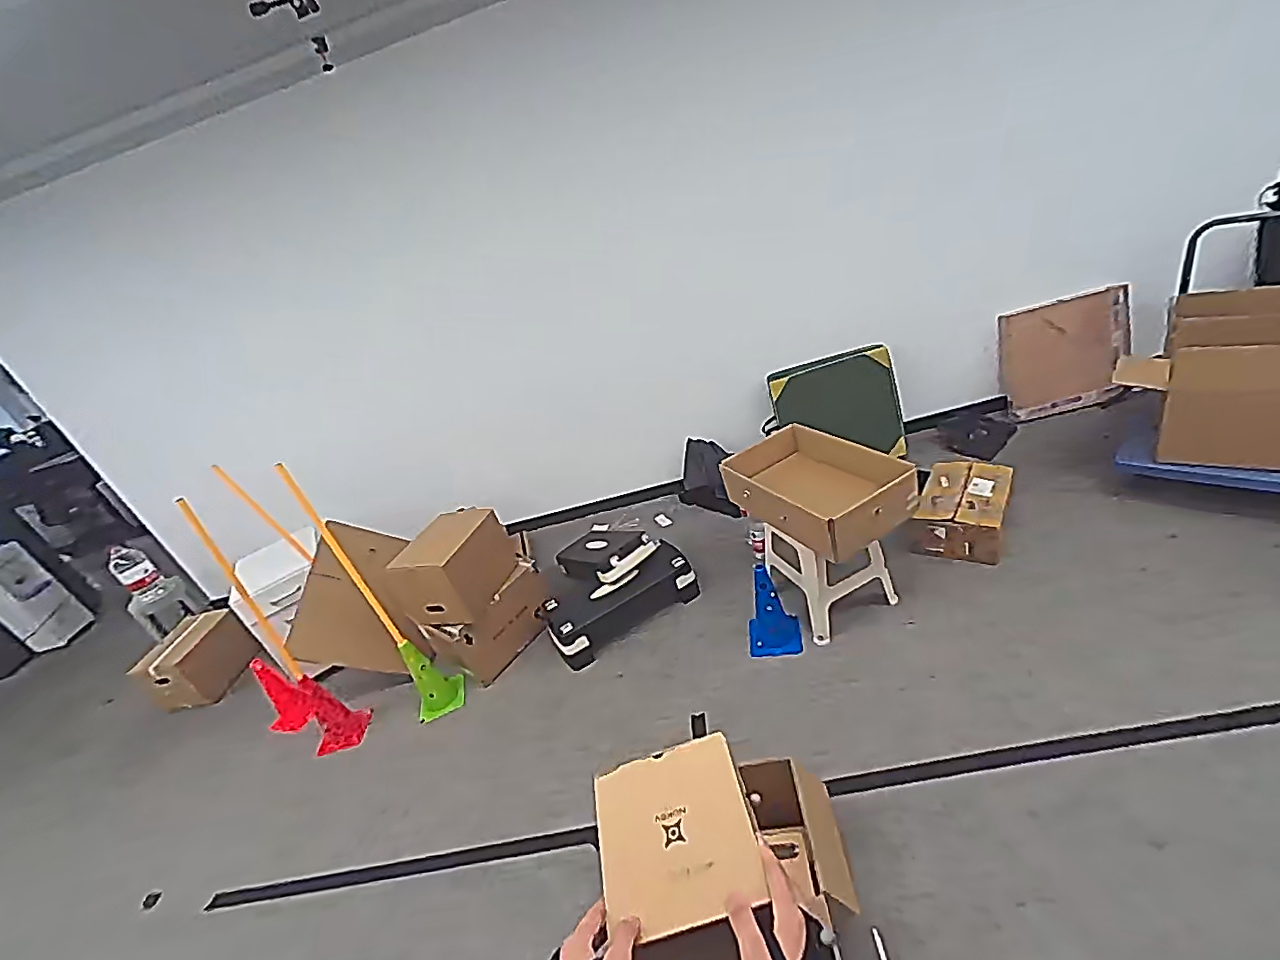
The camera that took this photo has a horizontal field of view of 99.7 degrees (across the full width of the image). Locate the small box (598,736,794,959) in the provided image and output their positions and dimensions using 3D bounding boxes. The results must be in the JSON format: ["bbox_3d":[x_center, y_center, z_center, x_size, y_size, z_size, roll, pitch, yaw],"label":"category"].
[{"bbox_3d":[0.059,0.436,0.613,0.168,0.176,0.179,-19,31,2],"label":"small box"}]
